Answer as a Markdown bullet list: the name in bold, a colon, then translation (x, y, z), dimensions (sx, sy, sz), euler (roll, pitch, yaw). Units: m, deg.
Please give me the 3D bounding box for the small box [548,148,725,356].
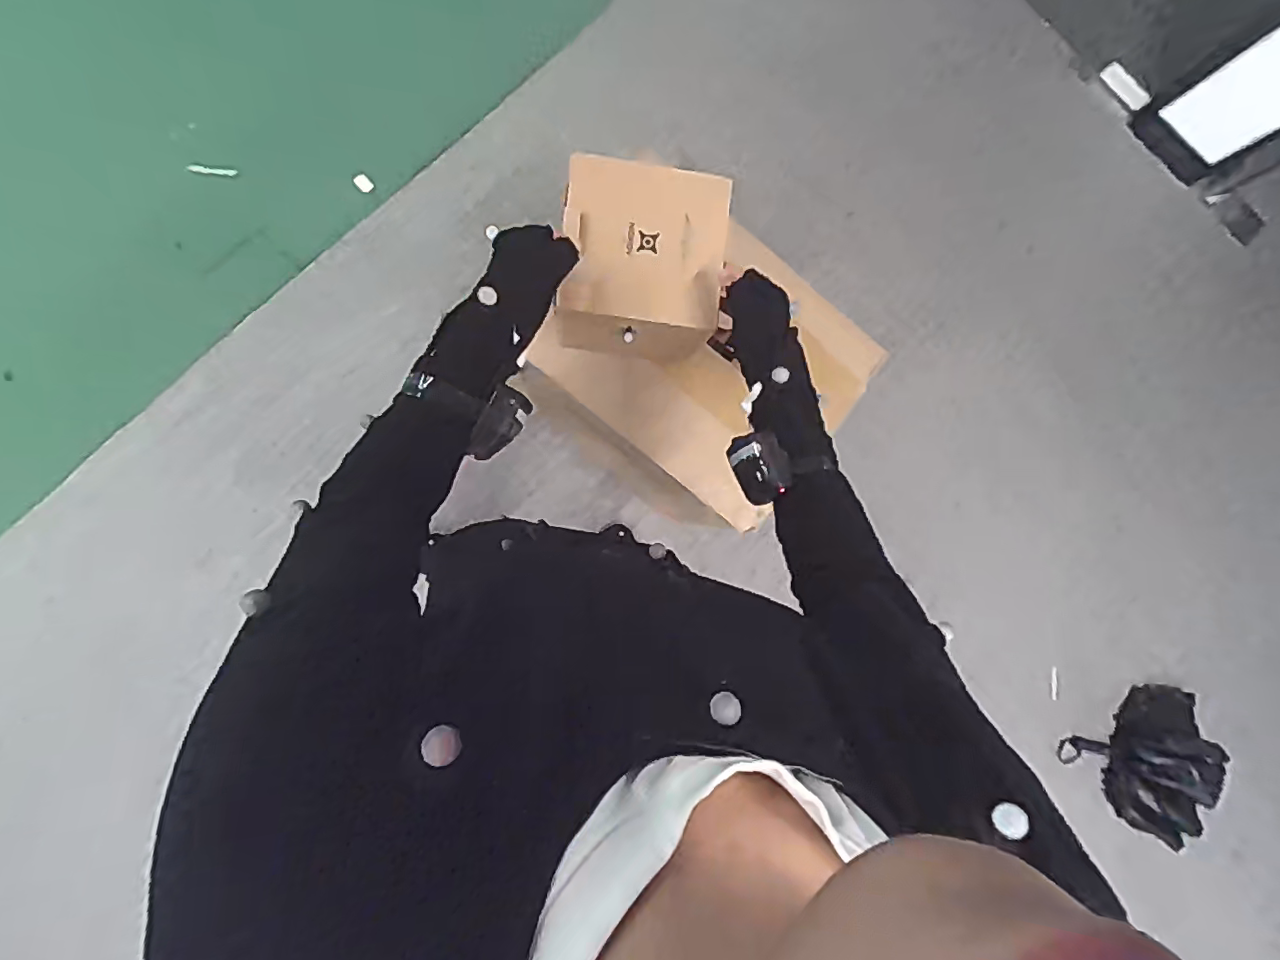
- **small box**: translation (-0.012, -0.253, 0.644), dimensions (0.179, 0.176, 0.168), euler (5, 89, -8)
